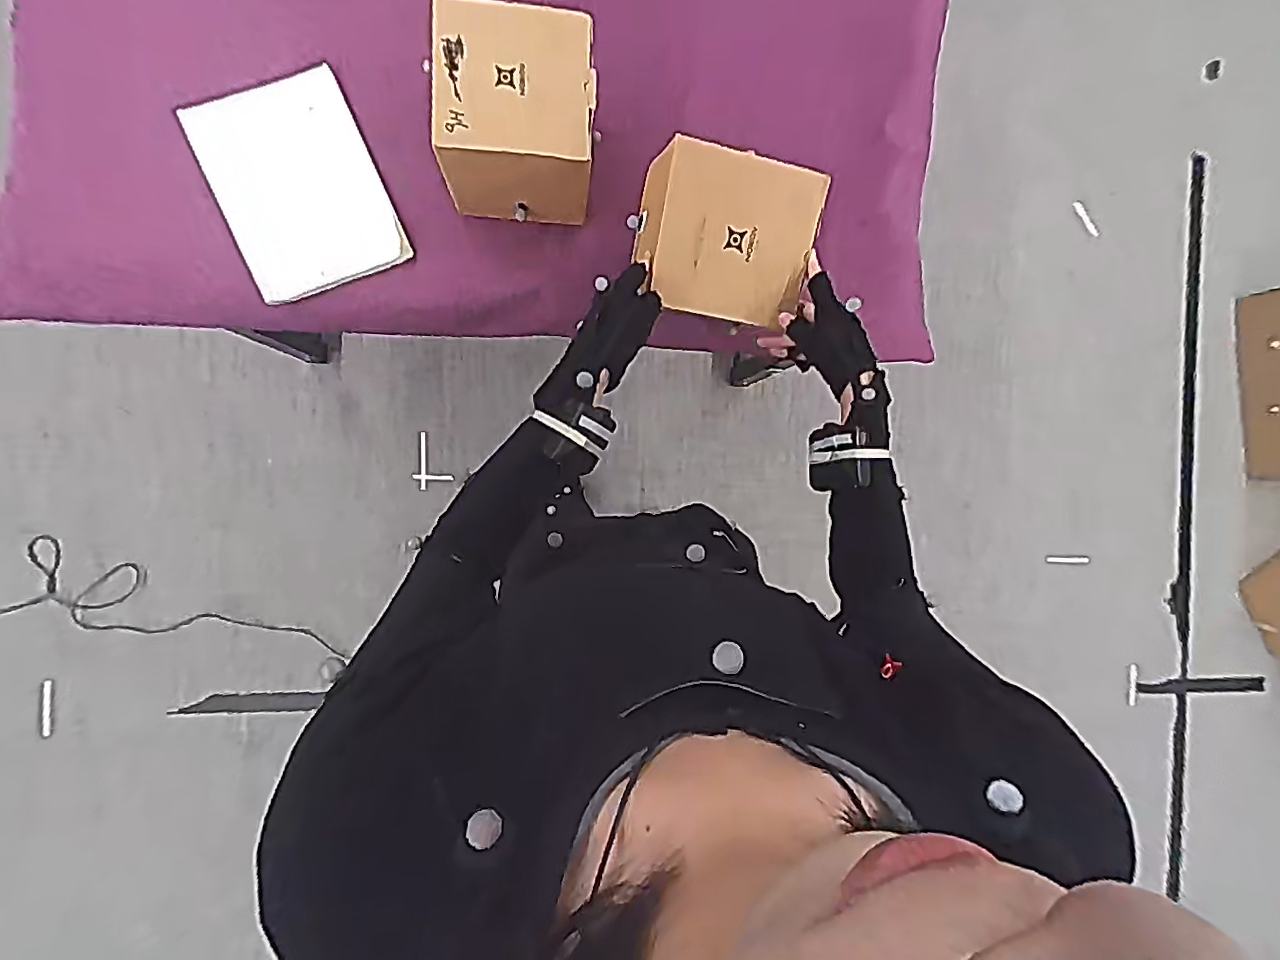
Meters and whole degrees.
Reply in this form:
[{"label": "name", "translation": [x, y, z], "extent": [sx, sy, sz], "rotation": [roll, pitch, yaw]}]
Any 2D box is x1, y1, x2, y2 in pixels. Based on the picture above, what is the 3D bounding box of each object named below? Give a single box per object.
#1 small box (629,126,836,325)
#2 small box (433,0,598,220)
[{"label": "small box", "translation": [0.094, -0.287, 0.643], "extent": [0.179, 0.176, 0.168], "rotation": [7, 107, -12]}, {"label": "small box", "translation": [-0.148, -0.445, 0.672], "extent": [0.179, 0.176, 0.168], "rotation": [1, 90, -9]}]
